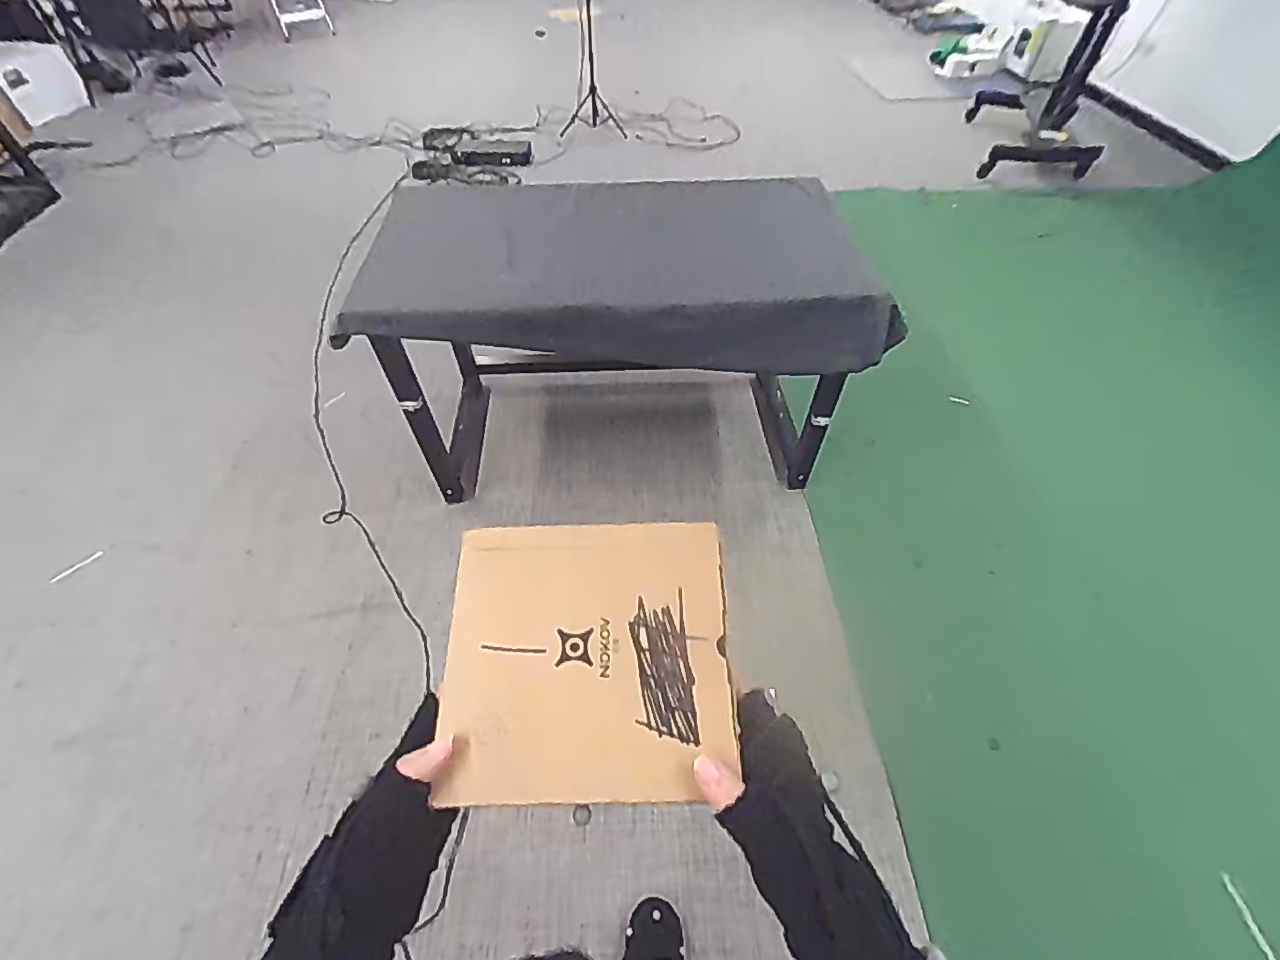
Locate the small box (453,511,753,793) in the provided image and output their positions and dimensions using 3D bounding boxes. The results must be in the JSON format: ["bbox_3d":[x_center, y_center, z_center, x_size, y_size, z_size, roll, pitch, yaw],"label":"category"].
[{"bbox_3d":[-0.028,0.134,0.415,0.179,0.176,0.168,-4,63,-3],"label":"small box"}]
